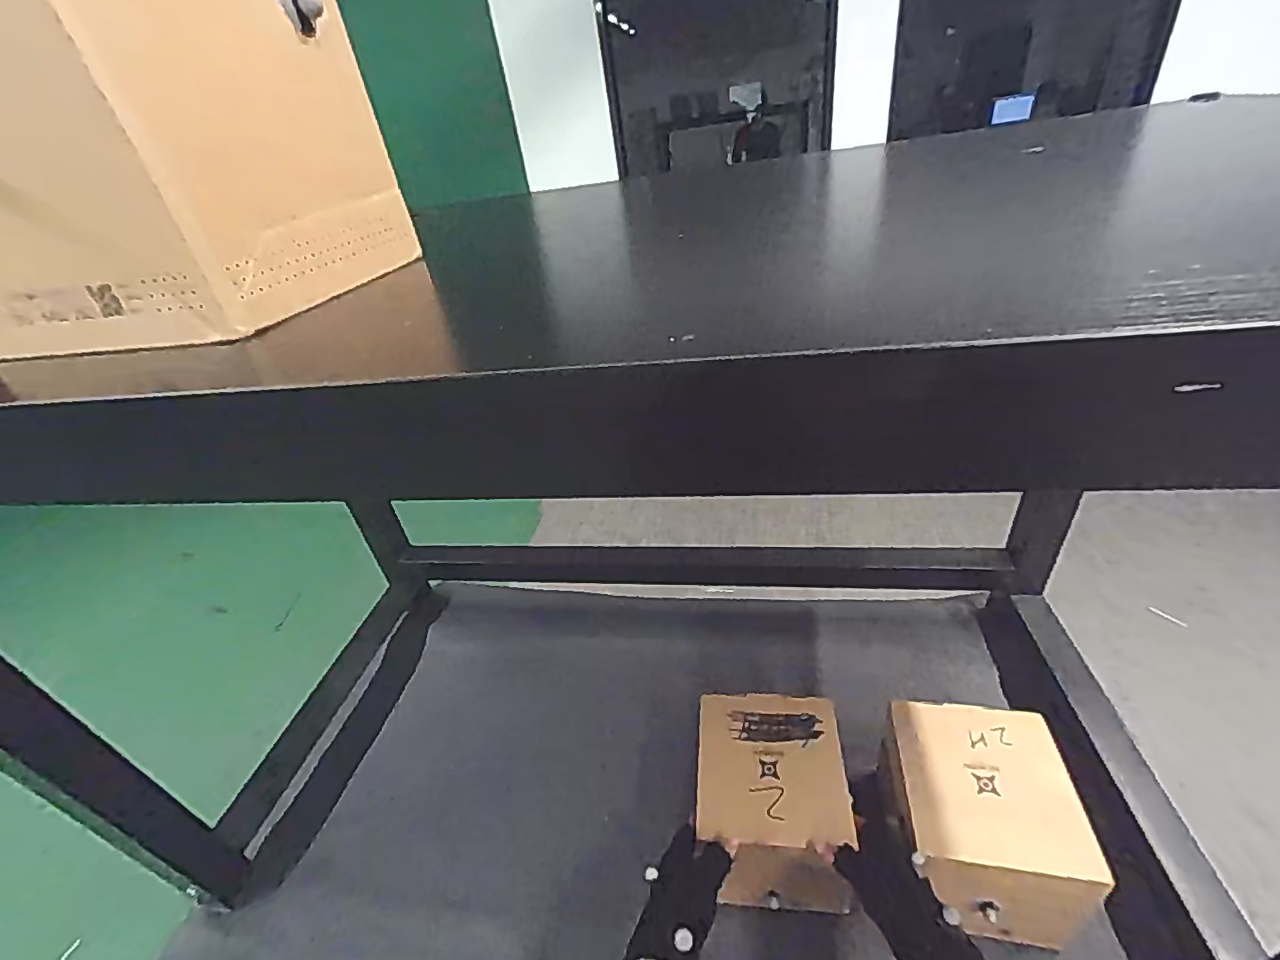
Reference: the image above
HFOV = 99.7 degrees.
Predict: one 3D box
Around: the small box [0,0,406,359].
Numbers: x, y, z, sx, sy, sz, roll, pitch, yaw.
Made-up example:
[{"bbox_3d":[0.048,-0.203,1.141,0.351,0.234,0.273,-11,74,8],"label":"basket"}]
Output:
[{"bbox_3d":[-0.264,-0.172,0.299,0.168,0.176,0.179,-1,33,13],"label":"small box"}]
